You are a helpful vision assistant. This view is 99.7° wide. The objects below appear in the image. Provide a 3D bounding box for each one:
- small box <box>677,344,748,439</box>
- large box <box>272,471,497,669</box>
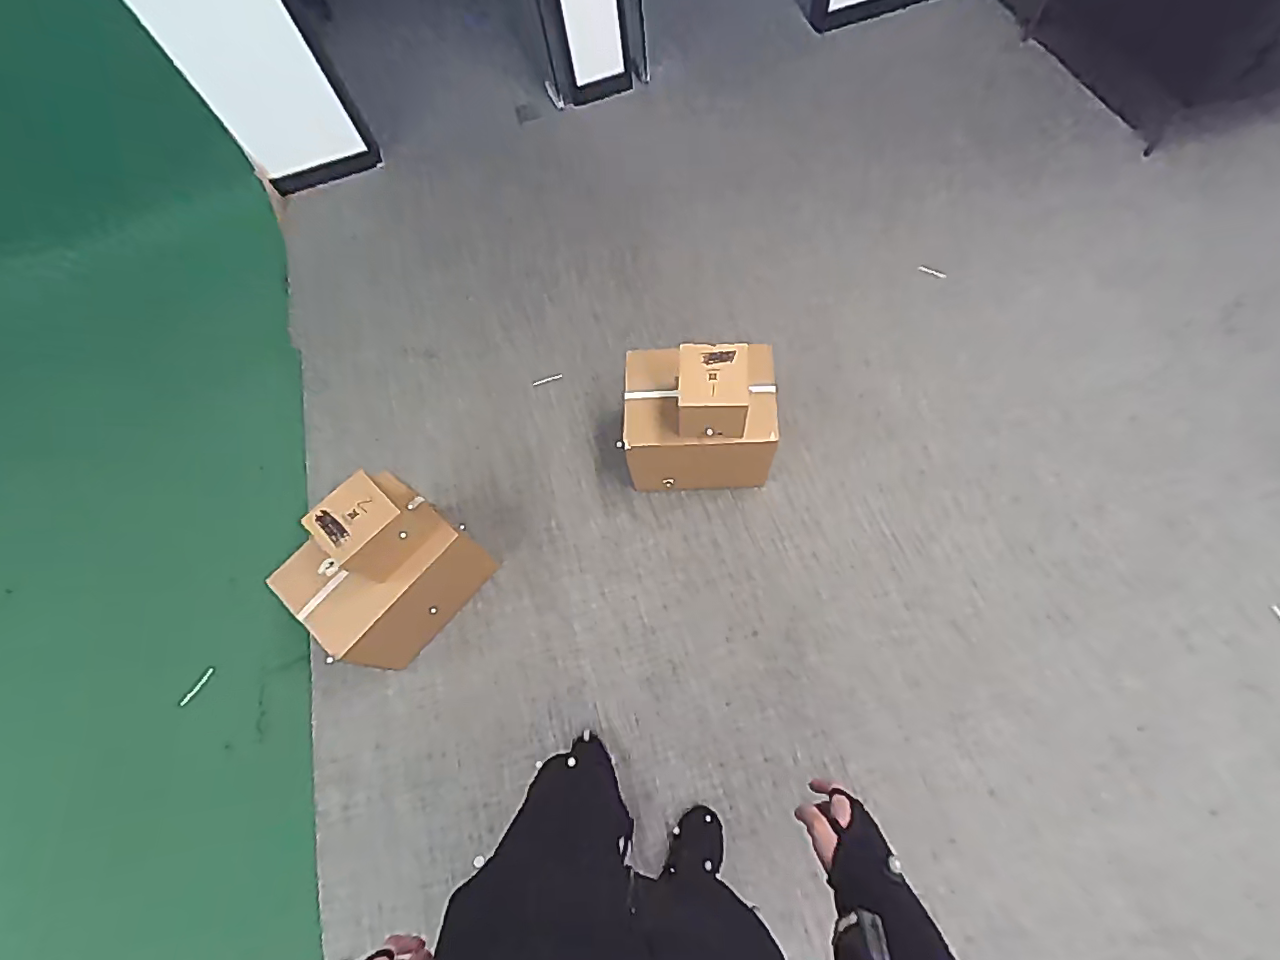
[{"bbox_3d":[0.178,-0.219,1.348,0.168,0.176,0.179,1,68,7],"label":"small box"},{"bbox_3d":[-0.679,0.259,1.503,0.320,0.320,0.408,36,76,20],"label":"large box"}]
